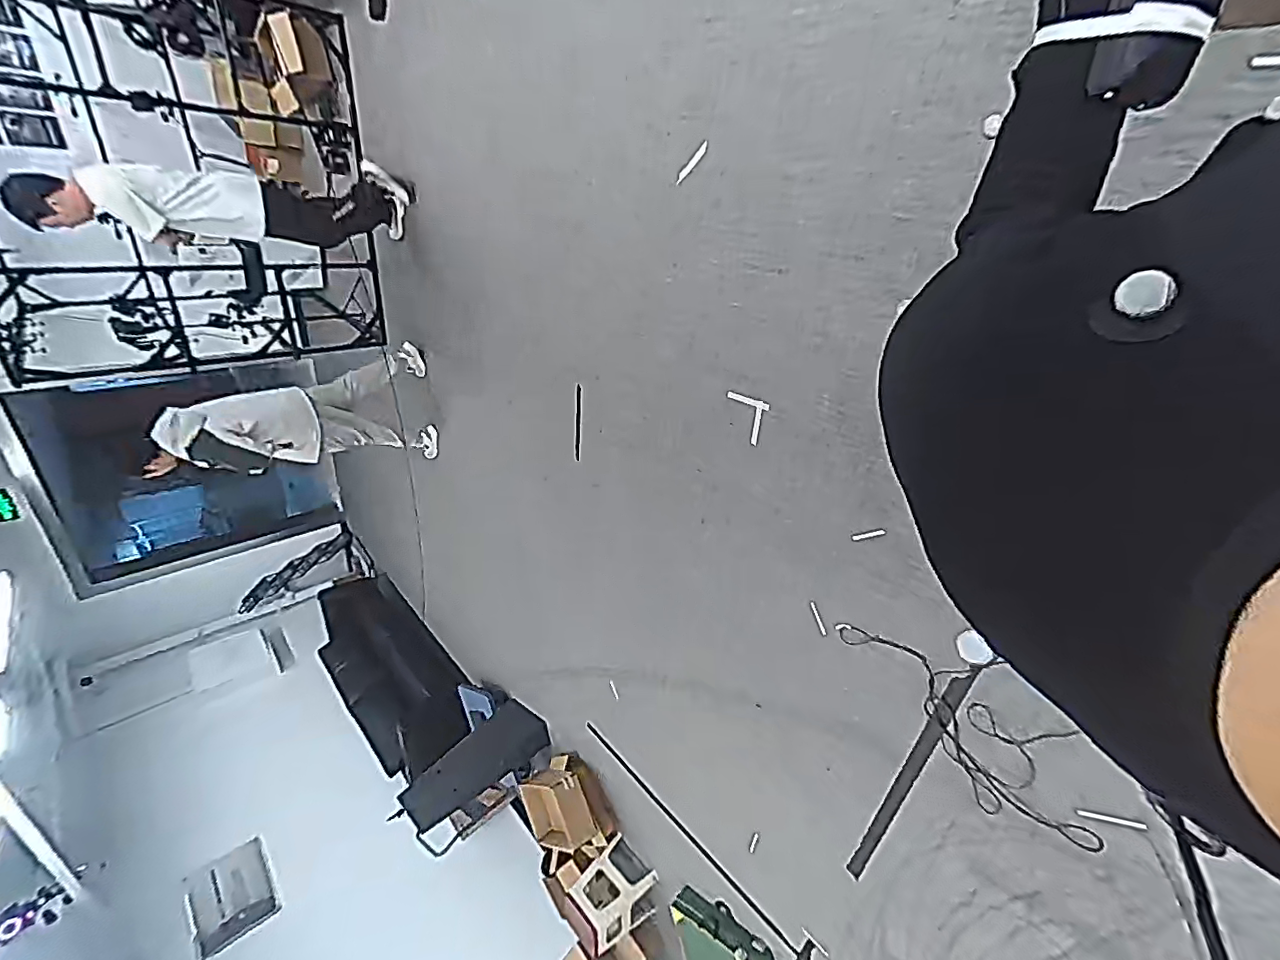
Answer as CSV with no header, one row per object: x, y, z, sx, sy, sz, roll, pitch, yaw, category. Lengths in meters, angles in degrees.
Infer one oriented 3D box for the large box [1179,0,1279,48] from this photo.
0.565,-0.424,0.233,0.408,0.320,0.320,25,130,36,large box
